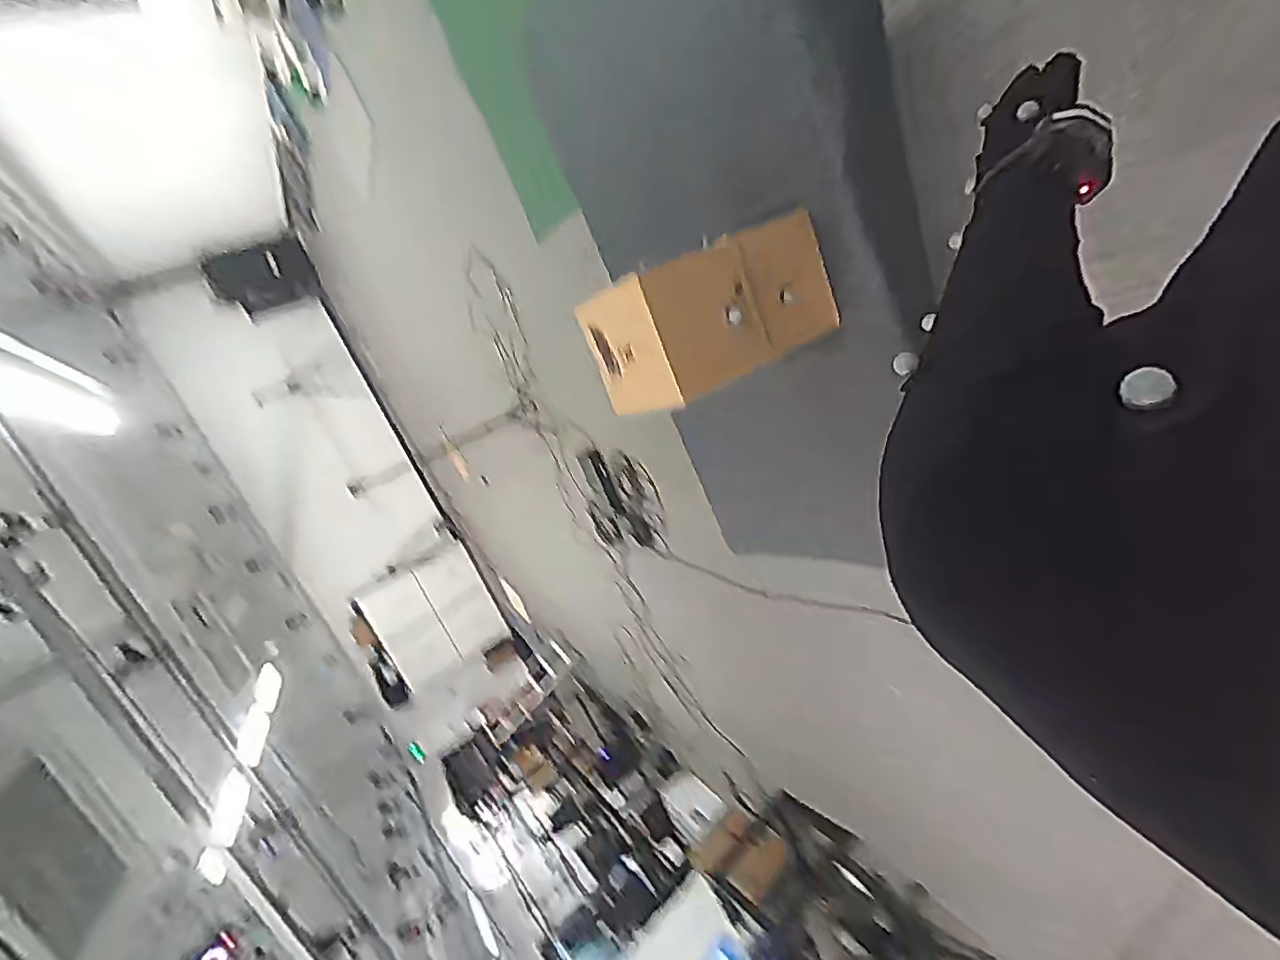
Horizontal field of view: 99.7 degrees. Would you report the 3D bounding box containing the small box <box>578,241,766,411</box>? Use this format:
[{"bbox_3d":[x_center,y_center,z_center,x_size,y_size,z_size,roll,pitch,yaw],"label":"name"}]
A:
[{"bbox_3d":[0.044,-0.210,0.762,0.179,0.176,0.168,1,117,62],"label":"small box"}]

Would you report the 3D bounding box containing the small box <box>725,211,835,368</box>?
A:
[{"bbox_3d":[0.171,-0.283,0.837,0.168,0.176,0.179,3,120,60],"label":"small box"}]
